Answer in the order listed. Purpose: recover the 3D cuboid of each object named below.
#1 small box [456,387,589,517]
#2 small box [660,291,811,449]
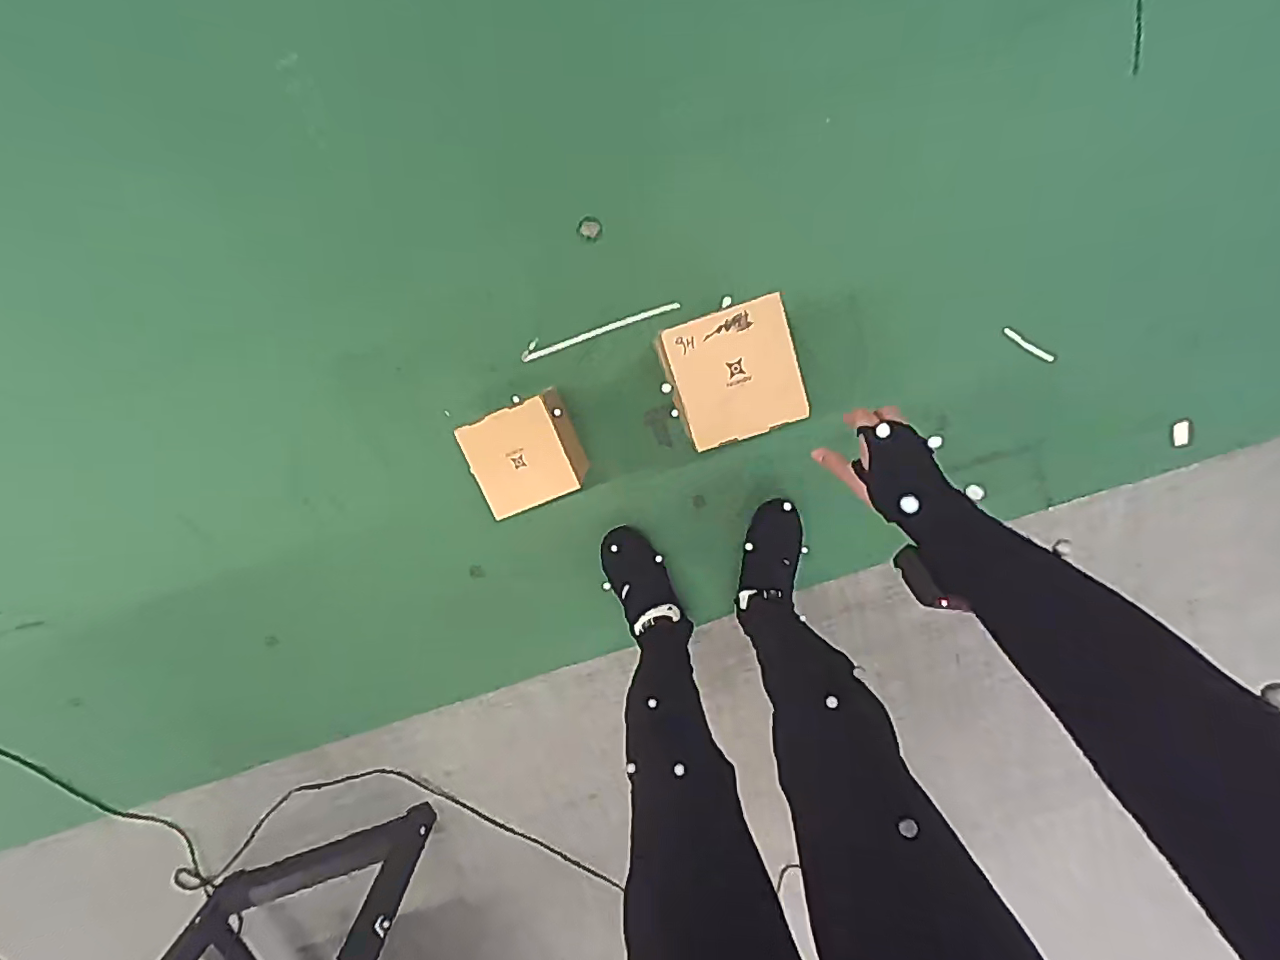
[{"bbox_3d":[-0.205,-0.059,1.000,0.168,0.176,0.179,-21,103,6],"label":"small box"},{"bbox_3d":[0.133,-0.167,0.800,0.168,0.176,0.179,-18,105,4],"label":"small box"}]
